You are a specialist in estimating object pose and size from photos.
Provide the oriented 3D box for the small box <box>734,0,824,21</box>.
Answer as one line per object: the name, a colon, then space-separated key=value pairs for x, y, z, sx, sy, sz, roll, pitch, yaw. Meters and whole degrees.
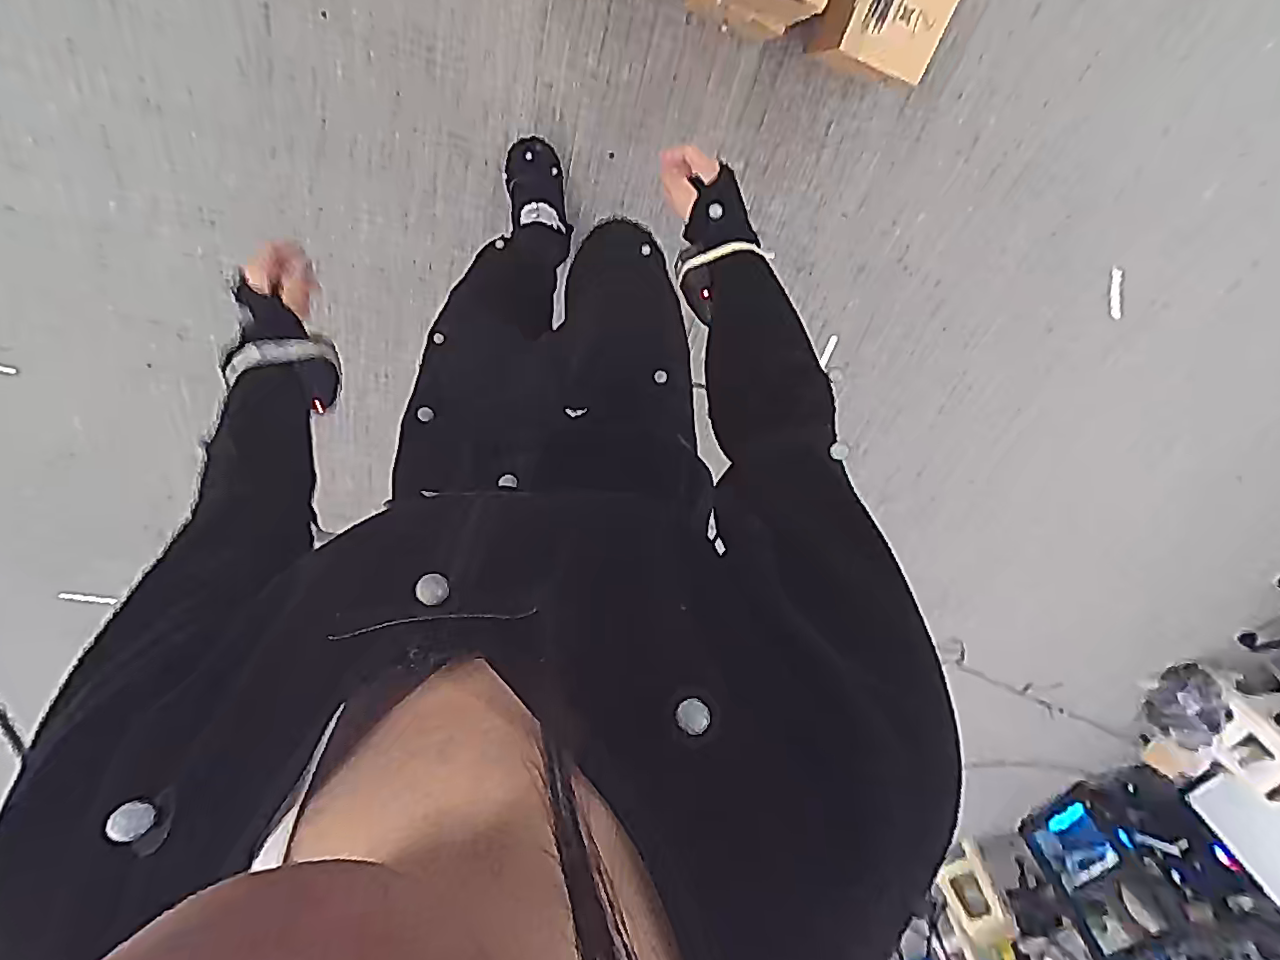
small box: x=0.202 y=-0.811 z=0.790 sx=0.168 sy=0.176 sz=0.179 roll=10 pitch=123 yaw=-13

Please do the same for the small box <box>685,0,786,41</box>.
small box: x=0.187 y=-0.898 z=0.930 sx=0.168 sy=0.176 sz=0.179 roll=13 pitch=123 yaw=-15
